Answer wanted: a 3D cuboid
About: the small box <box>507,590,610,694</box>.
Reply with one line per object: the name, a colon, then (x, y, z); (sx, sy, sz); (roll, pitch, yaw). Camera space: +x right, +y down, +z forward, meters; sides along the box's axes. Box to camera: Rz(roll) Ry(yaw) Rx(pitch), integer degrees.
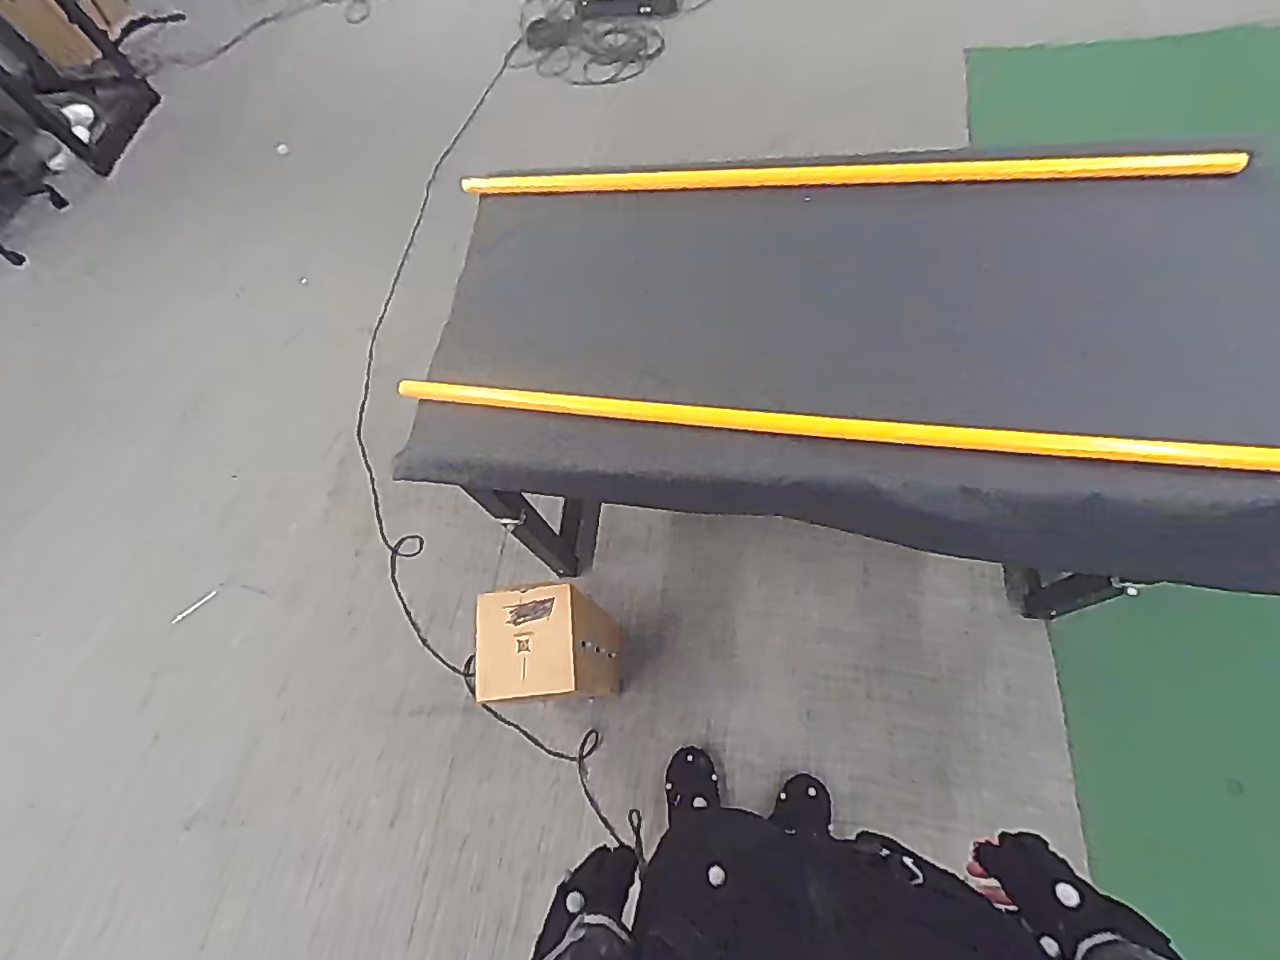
small box: (-0.165, 0.343, 1.124); (0.168, 0.176, 0.179); (-12, 65, 5)
